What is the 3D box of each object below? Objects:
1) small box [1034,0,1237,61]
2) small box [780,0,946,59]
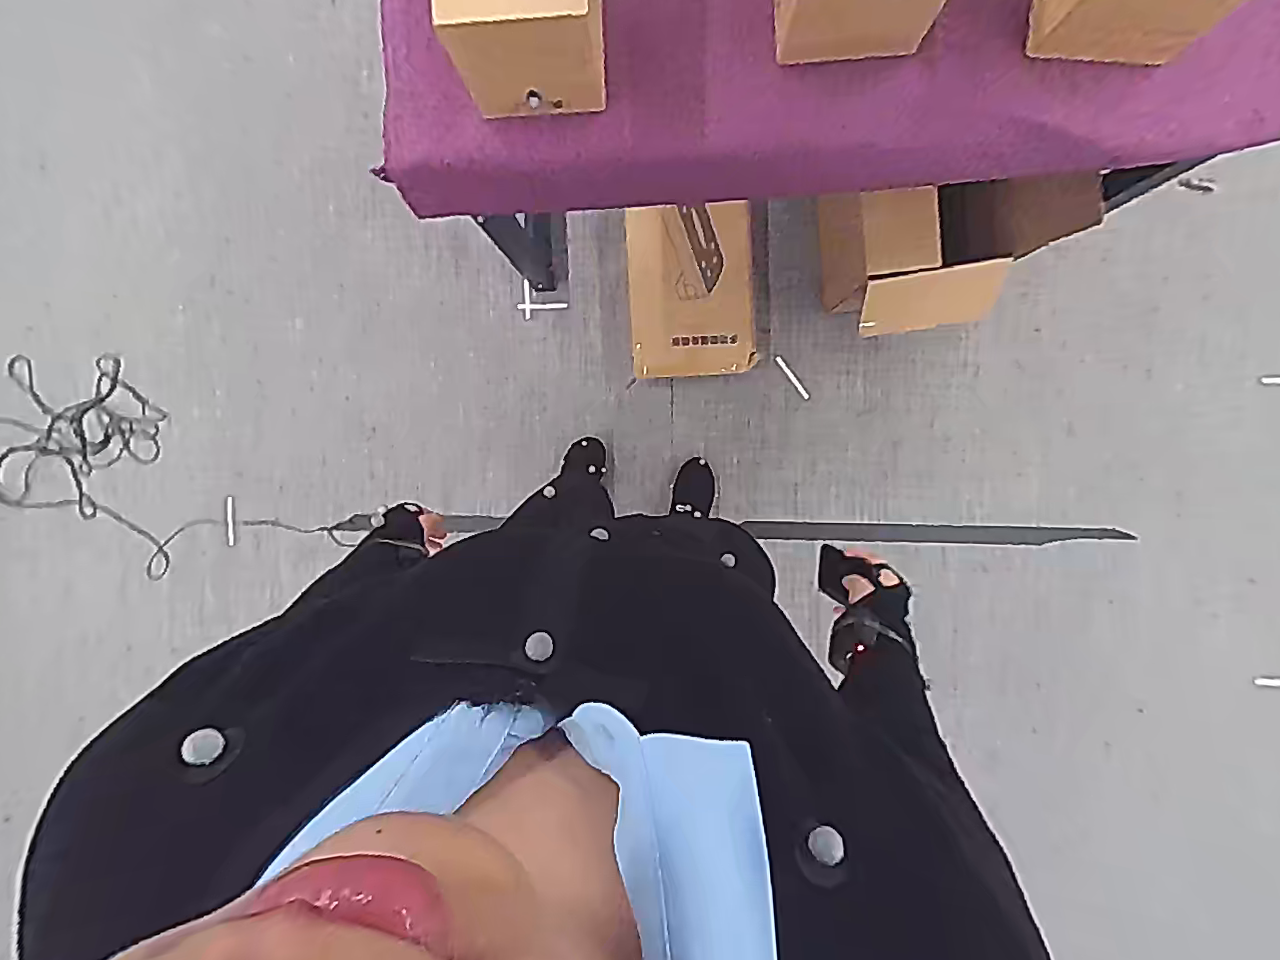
[{"bbox_3d":[0.580,-0.605,0.595,0.179,0.176,0.168,5,94,2],"label":"small box"},{"bbox_3d":[0.262,-0.617,0.606,0.179,0.176,0.168,-2,92,3],"label":"small box"}]
